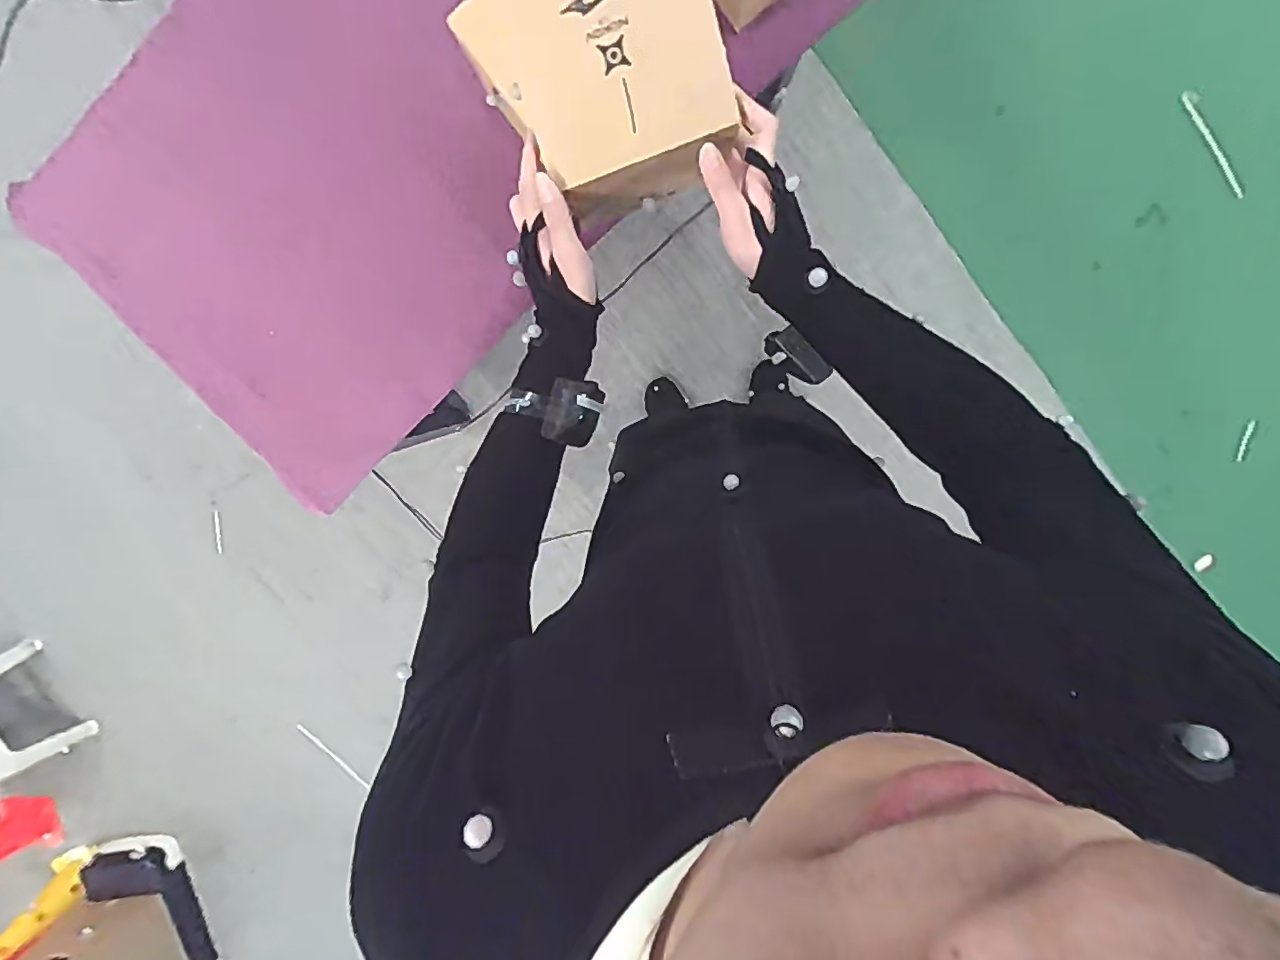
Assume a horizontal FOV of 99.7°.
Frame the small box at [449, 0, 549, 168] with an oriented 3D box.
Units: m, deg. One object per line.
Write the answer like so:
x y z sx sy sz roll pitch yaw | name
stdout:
-0.104 -0.533 0.703 0.168 0.176 0.179 -37 97 8 | small box

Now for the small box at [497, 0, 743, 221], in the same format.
-0.013 -0.367 0.500 0.168 0.176 0.179 -16 105 9 | small box
